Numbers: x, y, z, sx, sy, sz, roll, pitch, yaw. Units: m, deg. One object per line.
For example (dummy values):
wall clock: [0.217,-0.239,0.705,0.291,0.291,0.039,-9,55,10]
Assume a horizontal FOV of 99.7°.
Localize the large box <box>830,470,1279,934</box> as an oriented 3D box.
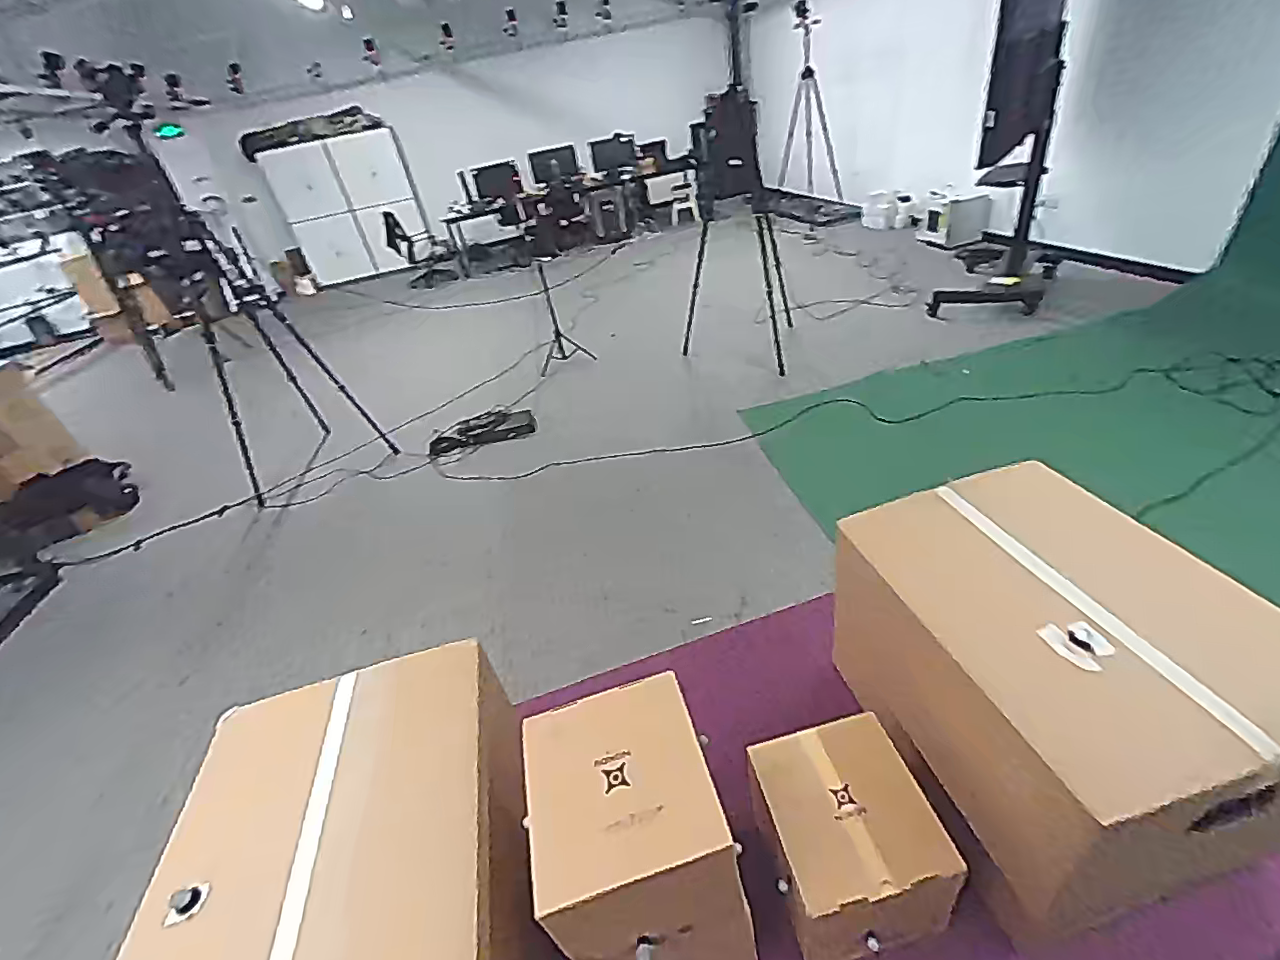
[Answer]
large box: [0.490,0.246,0.690,0.320,0.320,0.408,-16,35,-5]
